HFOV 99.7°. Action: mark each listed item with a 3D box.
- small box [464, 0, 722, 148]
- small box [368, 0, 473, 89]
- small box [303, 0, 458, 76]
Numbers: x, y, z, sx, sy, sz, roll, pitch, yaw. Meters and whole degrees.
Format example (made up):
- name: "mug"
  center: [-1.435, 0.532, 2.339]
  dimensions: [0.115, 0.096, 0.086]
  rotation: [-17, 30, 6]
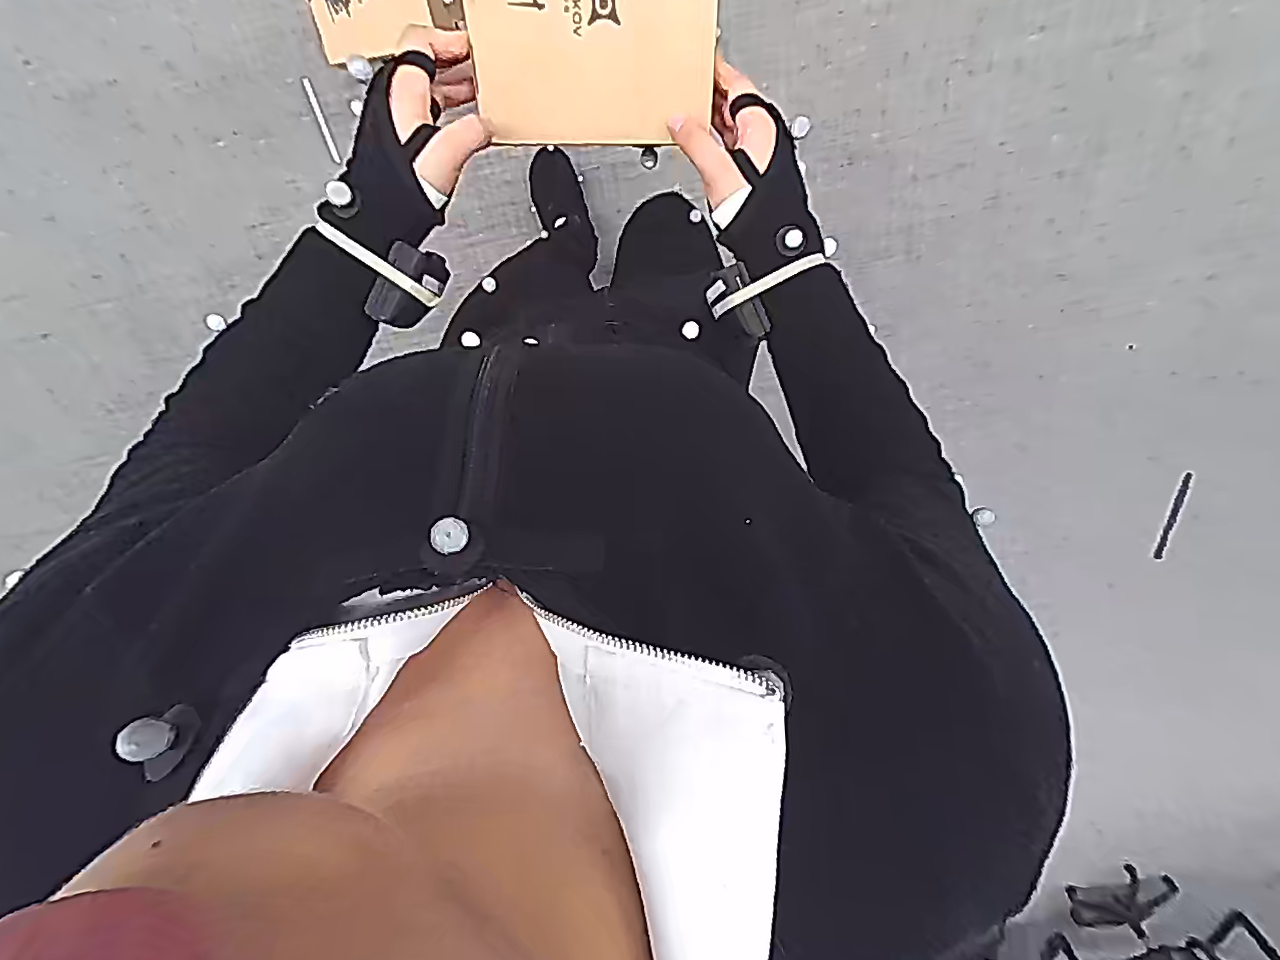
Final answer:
- name: "small box"
  center: [-0.034, -0.365, 0.428]
  dimensions: [0.179, 0.176, 0.168]
  rotation: [0, 122, -2]
- name: "small box"
  center: [-0.421, -0.837, 0.995]
  dimensions: [0.168, 0.176, 0.179]
  rotation: [-8, 122, 2]
- name: "small box"
  center: [-0.411, -0.757, 0.850]
  dimensions: [0.179, 0.176, 0.168]
  rotation: [-9, 121, 1]
